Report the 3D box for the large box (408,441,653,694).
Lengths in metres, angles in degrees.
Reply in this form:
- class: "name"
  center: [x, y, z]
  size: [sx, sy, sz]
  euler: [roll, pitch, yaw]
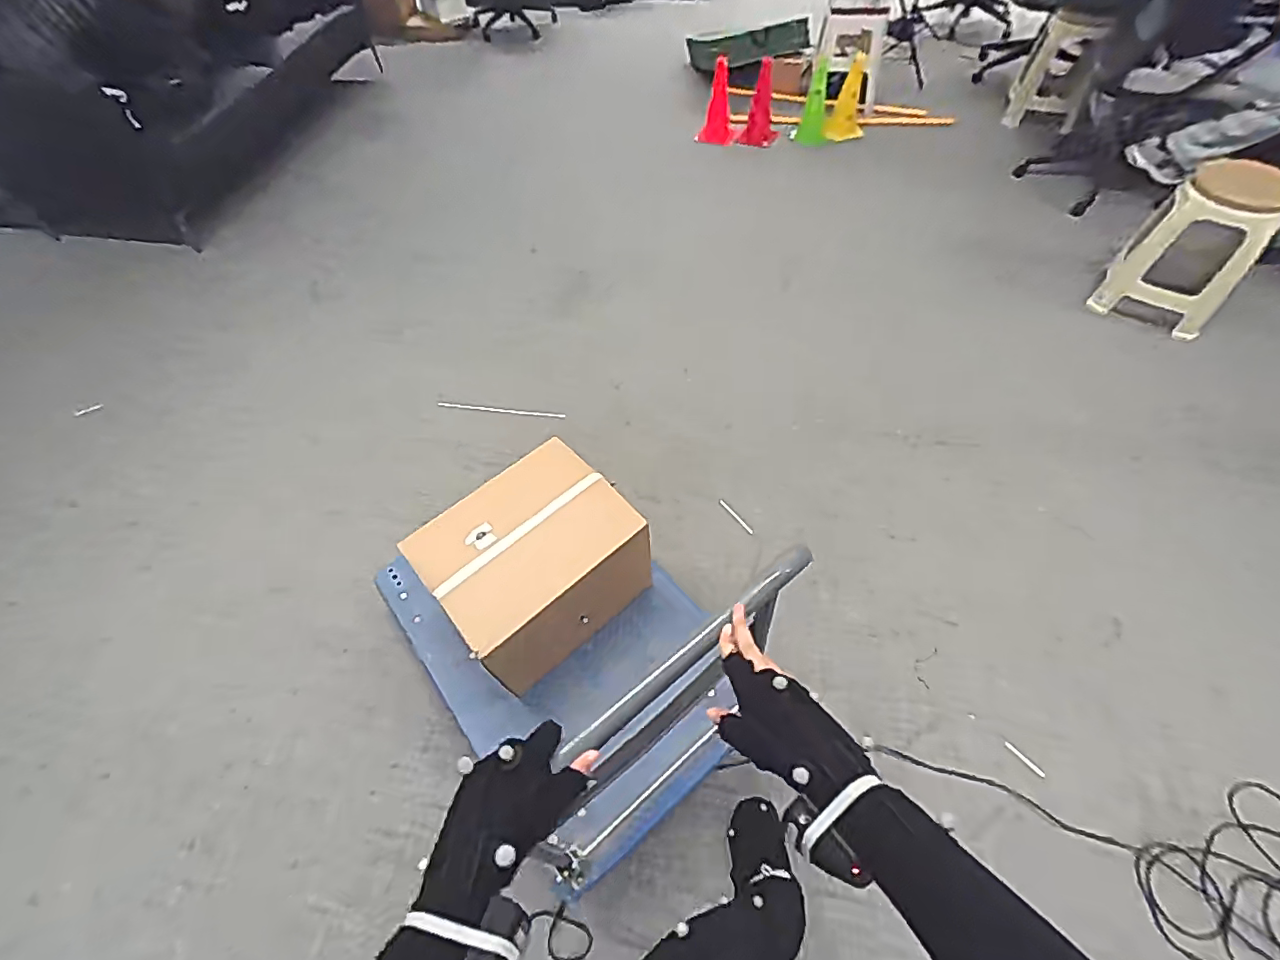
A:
- class: "large box"
  center: [-0.215, 0.198, 1.213]
  size: [0.408, 0.320, 0.320]
  euler: [-40, 62, -20]
